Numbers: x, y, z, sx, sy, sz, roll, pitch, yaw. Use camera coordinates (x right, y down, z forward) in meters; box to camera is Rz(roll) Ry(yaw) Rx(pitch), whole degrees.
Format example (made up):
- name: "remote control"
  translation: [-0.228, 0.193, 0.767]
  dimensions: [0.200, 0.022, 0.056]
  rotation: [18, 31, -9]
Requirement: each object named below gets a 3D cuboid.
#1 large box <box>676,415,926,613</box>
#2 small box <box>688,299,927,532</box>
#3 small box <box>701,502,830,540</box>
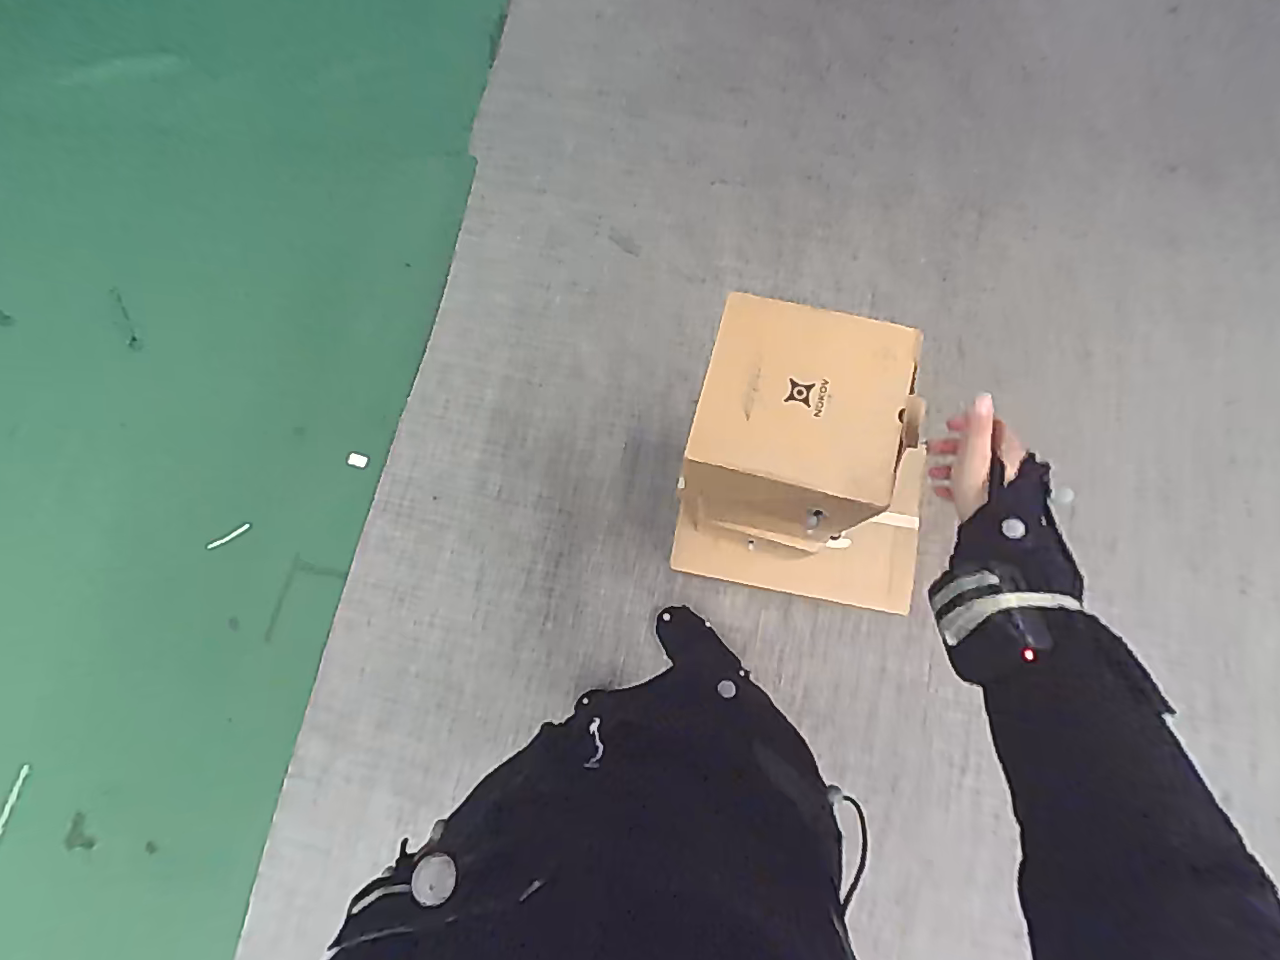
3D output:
- name: "large box"
  translation: [0.292, 0.074, 1.088]
  dimensions: [0.408, 0.320, 0.320]
  rotation: [10, 80, 6]
- name: "small box"
  translation: [0.153, -0.051, 0.543]
  dimensions: [0.179, 0.176, 0.168]
  rotation: [14, 78, 9]
- name: "small box"
  translation: [0.178, -0.023, 0.701]
  dimensions: [0.179, 0.176, 0.168]
  rotation: [11, 79, 8]
